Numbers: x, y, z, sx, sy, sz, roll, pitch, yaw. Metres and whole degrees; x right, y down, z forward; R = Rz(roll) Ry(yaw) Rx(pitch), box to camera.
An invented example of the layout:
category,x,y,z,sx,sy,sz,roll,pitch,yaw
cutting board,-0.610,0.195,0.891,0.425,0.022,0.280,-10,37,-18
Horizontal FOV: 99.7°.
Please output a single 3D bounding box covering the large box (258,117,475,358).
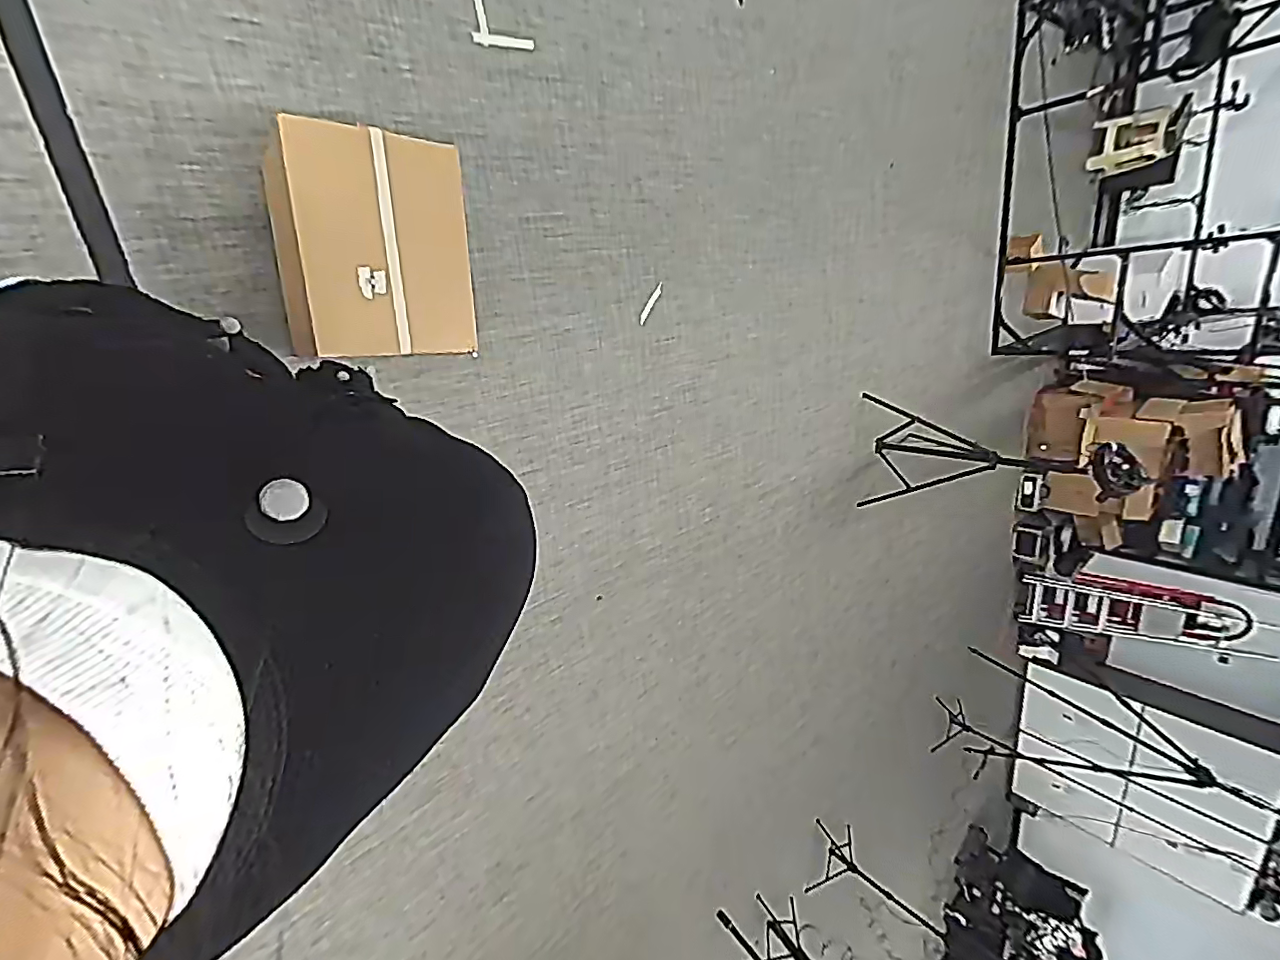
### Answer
category,x,y,z,sx,sy,sz,roll,pitch,yaw
large box,-0.580,-0.478,1.157,0.320,0.320,0.408,-13,109,-36
